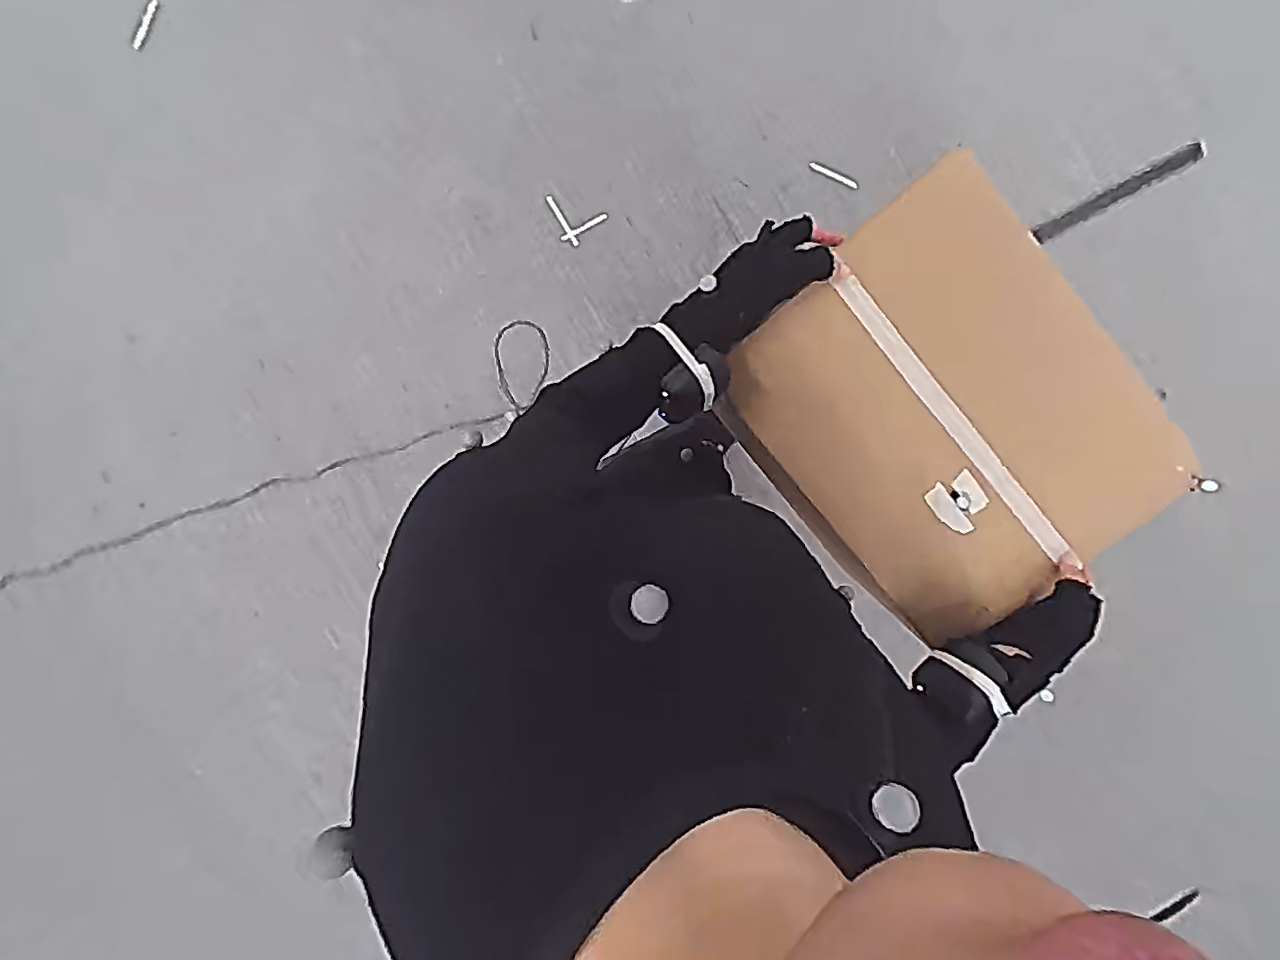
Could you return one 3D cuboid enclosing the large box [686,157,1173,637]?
[{"bbox_3d":[0.308,-0.093,0.699,0.320,0.320,0.408,-40,96,9],"label":"large box"}]
